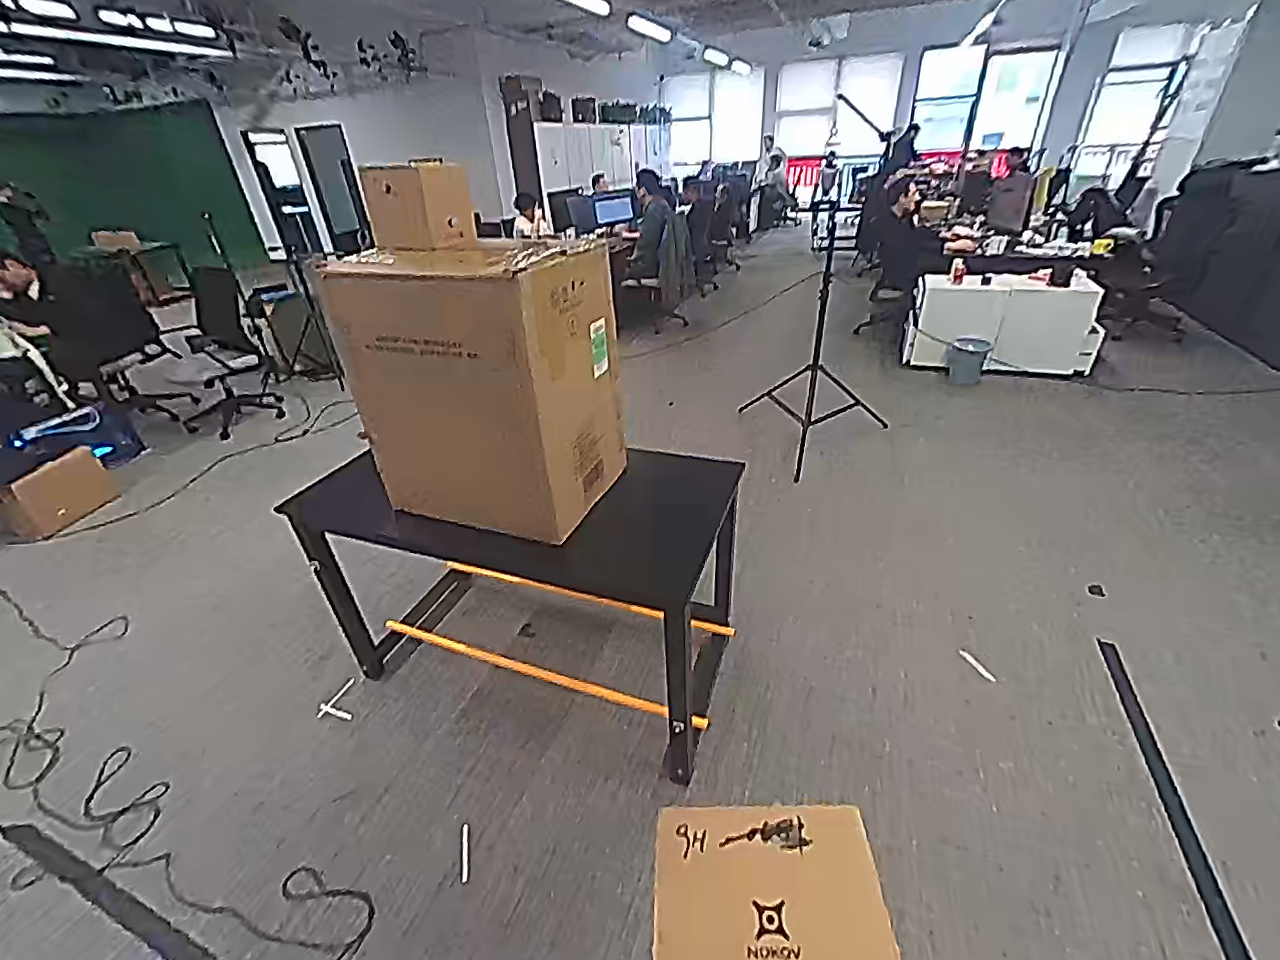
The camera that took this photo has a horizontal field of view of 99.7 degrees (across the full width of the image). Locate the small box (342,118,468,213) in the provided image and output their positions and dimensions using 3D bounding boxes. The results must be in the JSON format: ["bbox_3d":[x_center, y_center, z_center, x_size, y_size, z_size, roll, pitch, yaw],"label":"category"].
[{"bbox_3d":[-0.508,-0.686,1.190,0.179,0.176,0.168,11,33,19],"label":"small box"}]
